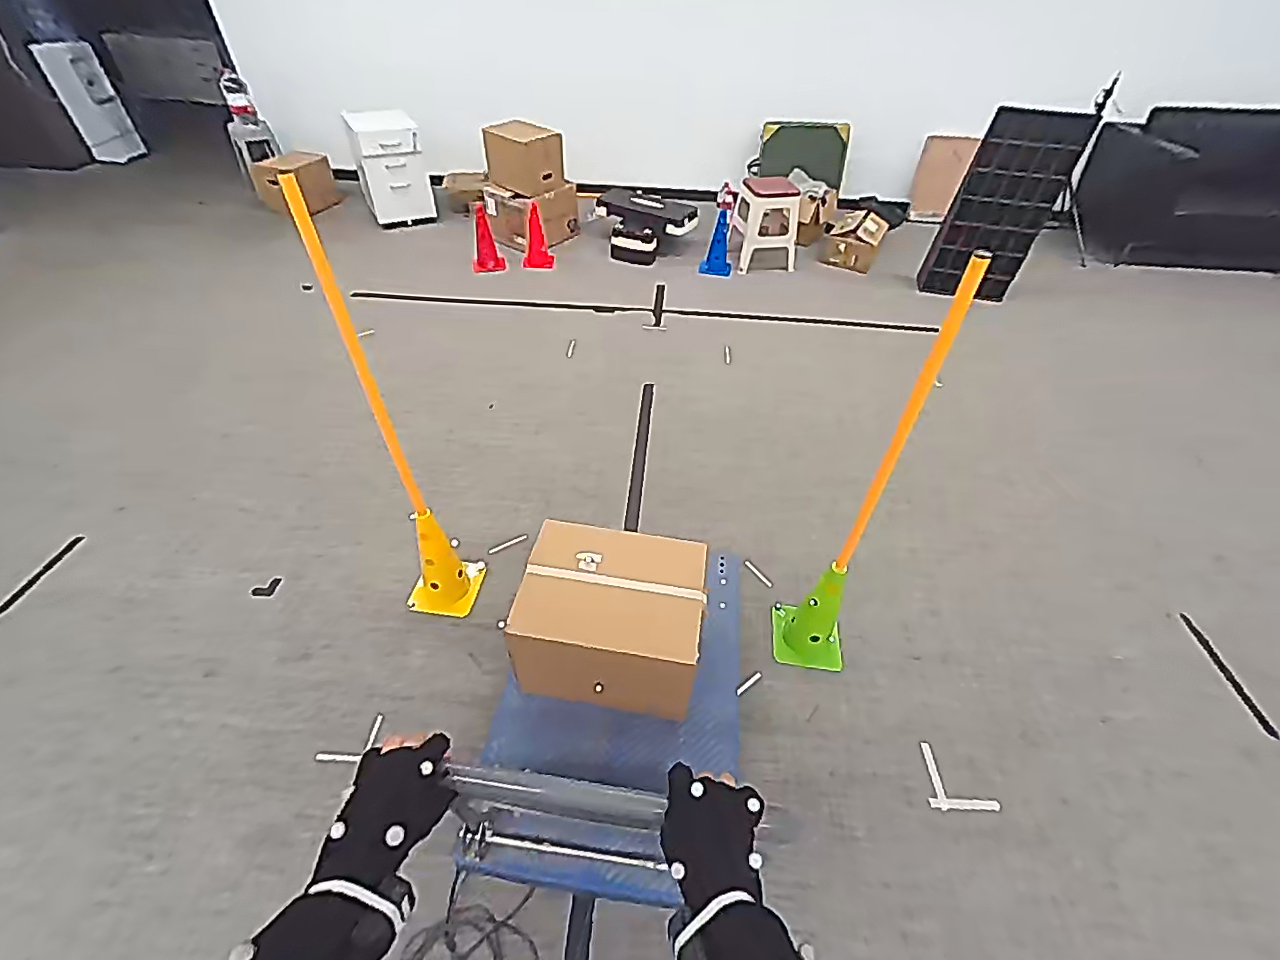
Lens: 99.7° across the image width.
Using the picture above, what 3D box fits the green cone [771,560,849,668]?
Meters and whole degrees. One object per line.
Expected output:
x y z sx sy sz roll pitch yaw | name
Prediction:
0.515 0.354 1.544 0.202 0.368 0.200 8 45 4 | green cone

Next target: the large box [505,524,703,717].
-0.067 0.344 1.321 0.408 0.320 0.320 8 45 6 | large box
